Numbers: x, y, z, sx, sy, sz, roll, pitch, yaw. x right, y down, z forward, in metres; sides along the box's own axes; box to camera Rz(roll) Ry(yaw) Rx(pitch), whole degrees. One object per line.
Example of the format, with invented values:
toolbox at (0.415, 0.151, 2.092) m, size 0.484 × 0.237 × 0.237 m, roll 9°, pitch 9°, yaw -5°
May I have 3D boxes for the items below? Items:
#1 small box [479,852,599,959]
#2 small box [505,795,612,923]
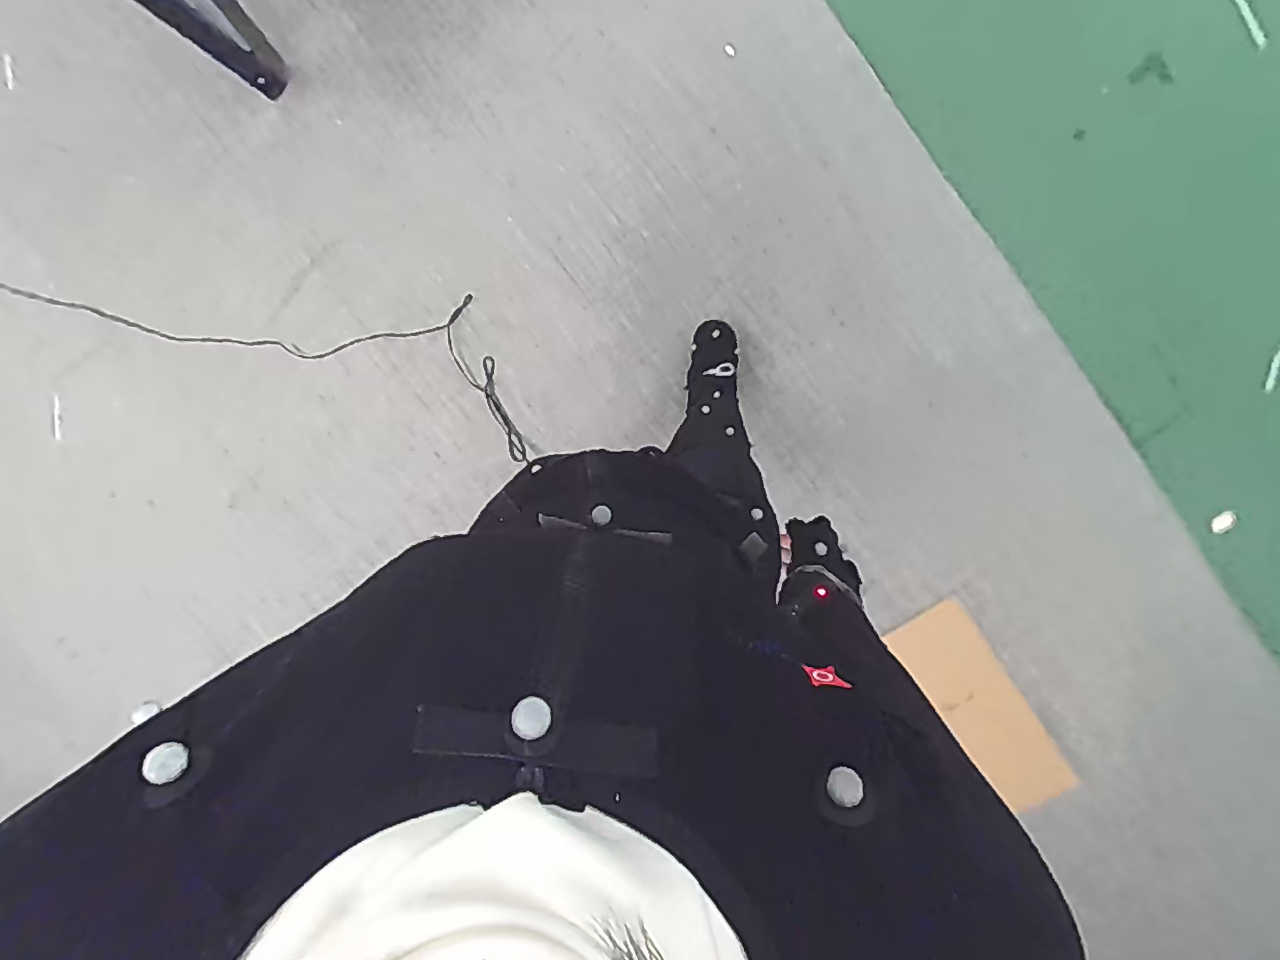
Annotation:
small box at (-0.175, 0.815, 0.986) m, size 0.168 × 0.176 × 0.179 m, roll -6°, pitch 97°, yaw 7°
small box at (-0.162, 0.804, 1.153) m, size 0.179 × 0.176 × 0.168 m, roll -11°, pitch 98°, yaw 8°
